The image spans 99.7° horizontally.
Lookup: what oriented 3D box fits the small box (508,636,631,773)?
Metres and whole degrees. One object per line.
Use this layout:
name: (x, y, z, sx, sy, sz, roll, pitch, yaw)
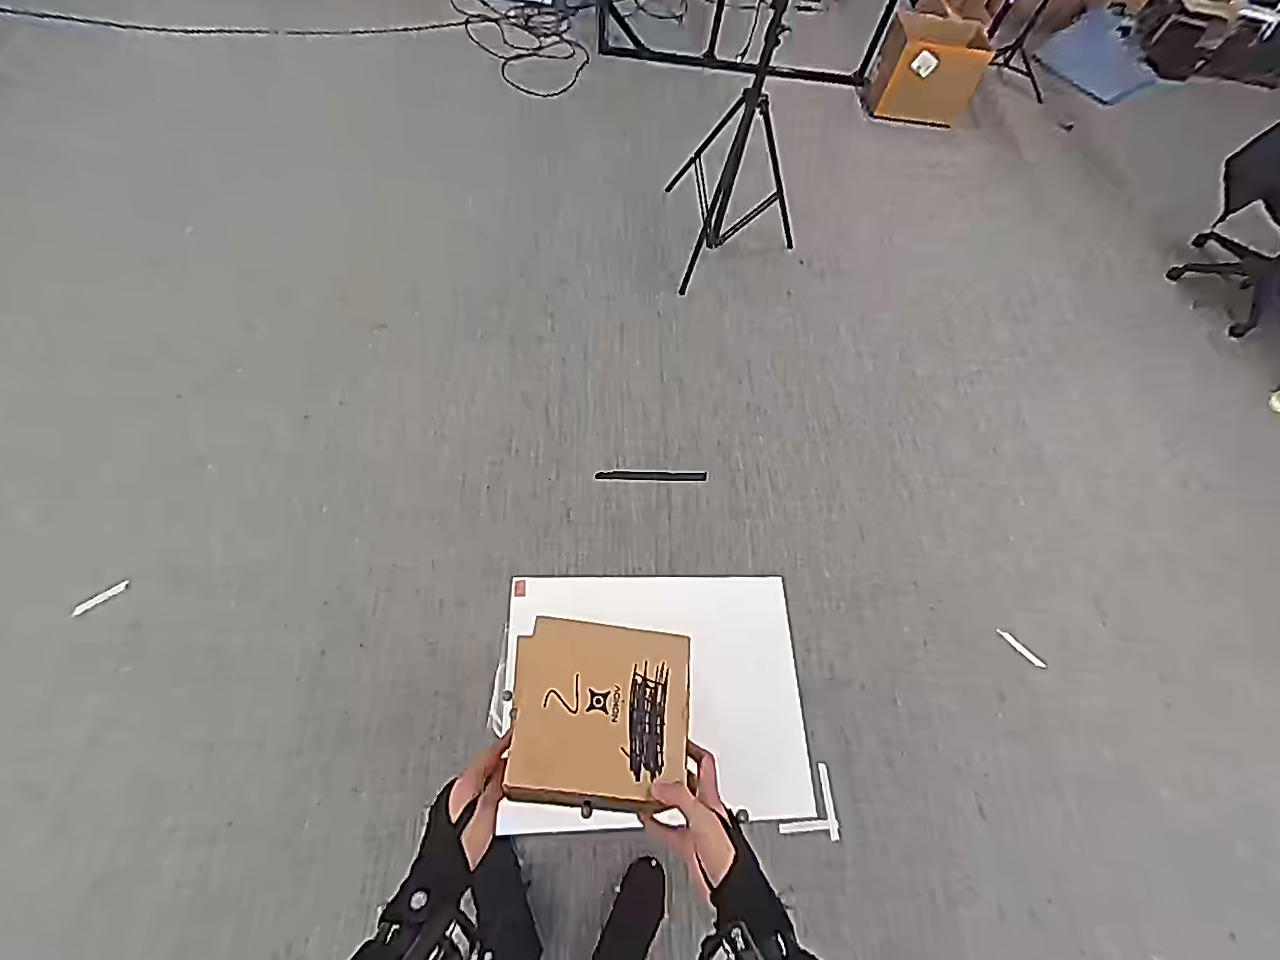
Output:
small box: (-0.102, 0.340, 0.822, 0.168, 0.176, 0.179, 2, 64, -7)
